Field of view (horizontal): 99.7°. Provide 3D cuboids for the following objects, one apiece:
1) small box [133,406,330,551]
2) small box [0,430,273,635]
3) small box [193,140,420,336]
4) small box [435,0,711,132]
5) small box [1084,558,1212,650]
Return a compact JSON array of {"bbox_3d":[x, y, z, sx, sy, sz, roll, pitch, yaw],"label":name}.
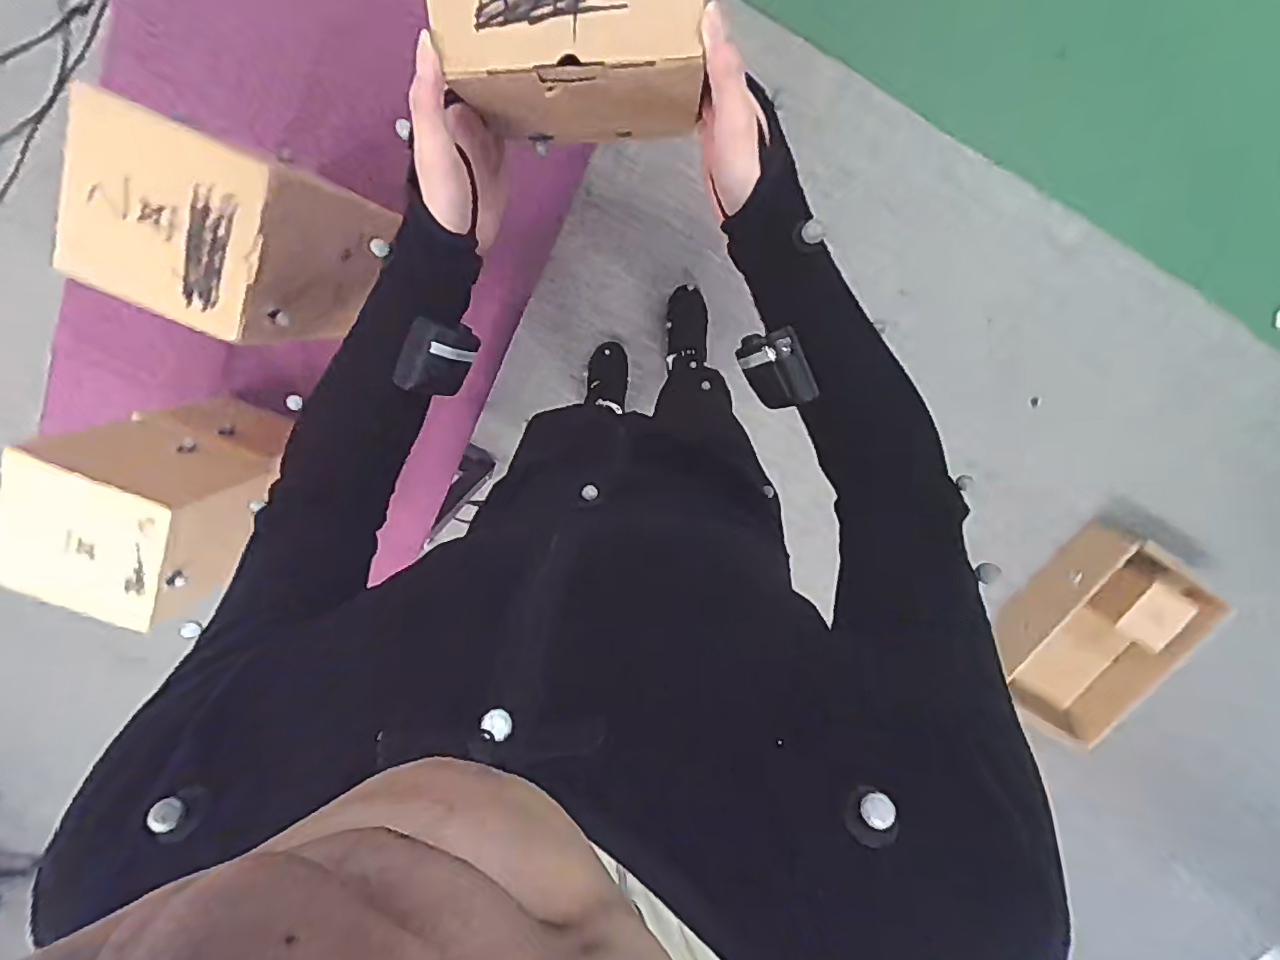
[{"bbox_3d":[-0.610,-0.003,0.811,0.179,0.176,0.168,21,105,-6],"label":"small box"},{"bbox_3d":[-0.600,0.050,0.656,0.179,0.176,0.168,23,106,-6],"label":"small box"},{"bbox_3d":[-0.427,-0.304,0.716,0.179,0.176,0.168,24,106,-6],"label":"small box"},{"bbox_3d":[-0.035,-0.356,0.369,0.168,0.176,0.179,0,108,3],"label":"small box"},{"bbox_3d":[1.479,0.355,1.586,0.179,0.176,0.168,30,105,-8],"label":"small box"}]
